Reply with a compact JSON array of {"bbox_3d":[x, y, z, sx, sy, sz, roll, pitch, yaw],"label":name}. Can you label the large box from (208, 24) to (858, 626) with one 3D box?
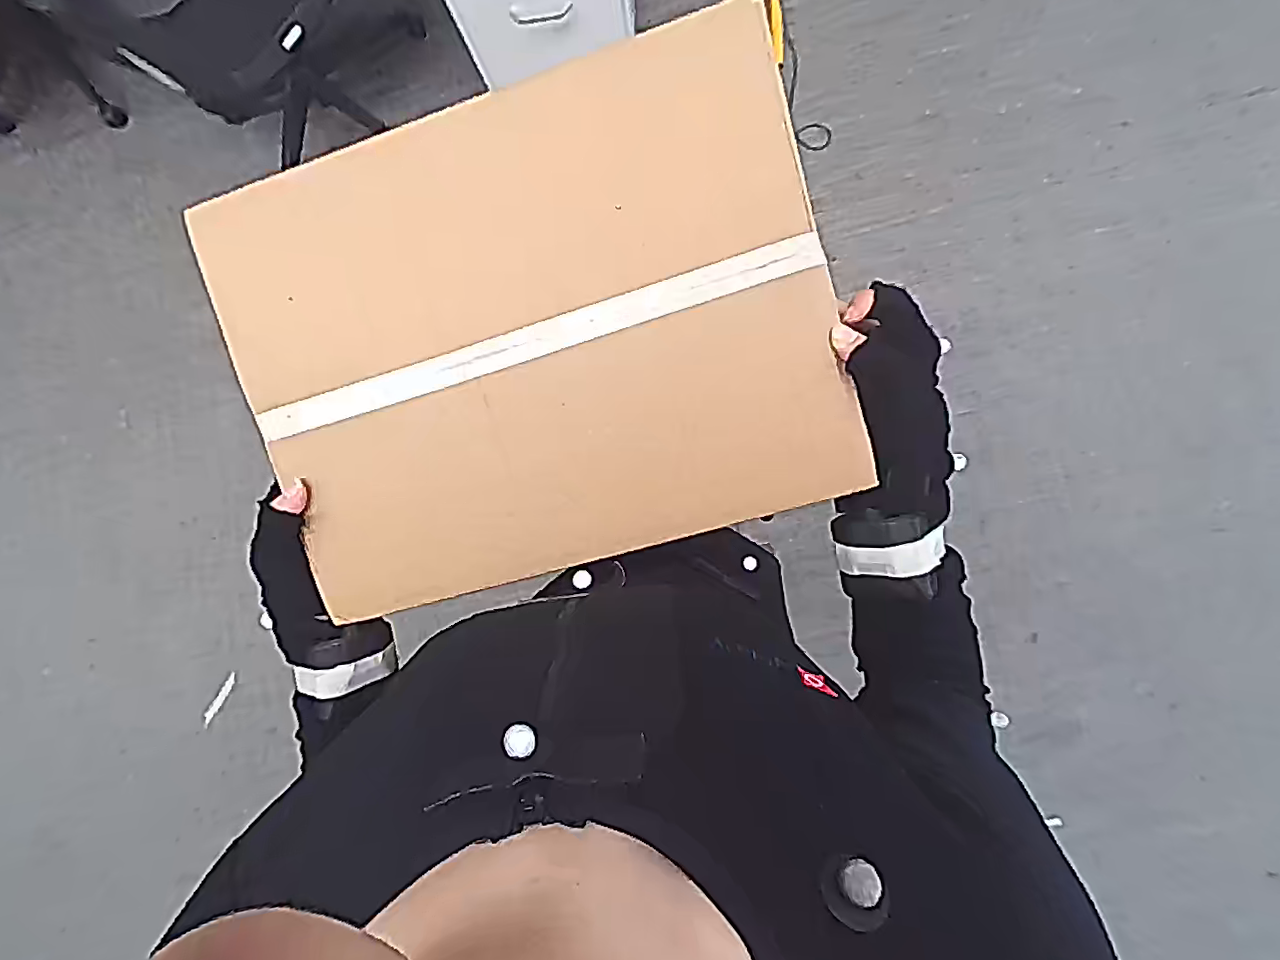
[{"bbox_3d":[-0.065,-0.108,0.524,0.408,0.320,0.320,-16,96,8],"label":"large box"}]
